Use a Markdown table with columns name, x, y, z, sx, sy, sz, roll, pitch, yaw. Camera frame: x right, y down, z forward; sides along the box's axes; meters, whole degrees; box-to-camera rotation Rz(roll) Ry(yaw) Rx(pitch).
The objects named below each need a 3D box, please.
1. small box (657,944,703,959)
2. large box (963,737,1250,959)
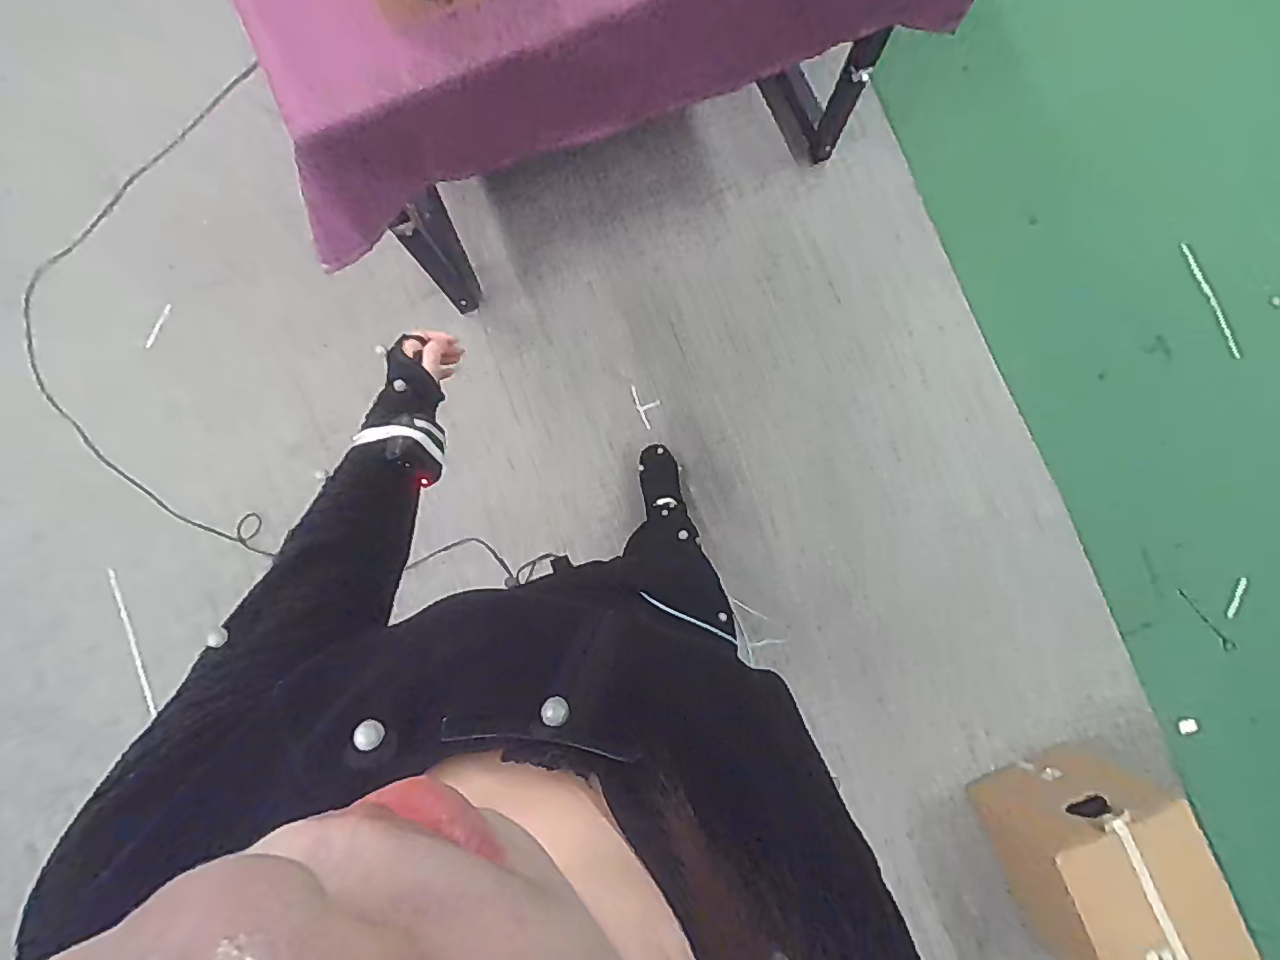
| name | x | y | z | sx | sy | sz | roll | pitch | yaw |
| --- | --- | --- | --- | --- | --- | --- | --- | --- | --- |
| small box | 0.066 | 1.055 | 1.029 | 0.179 | 0.176 | 0.168 | -23 | 86 | -4 |
| large box | 1.070 | 0.912 | 1.287 | 0.320 | 0.320 | 0.408 | -22 | 87 | -2 |
